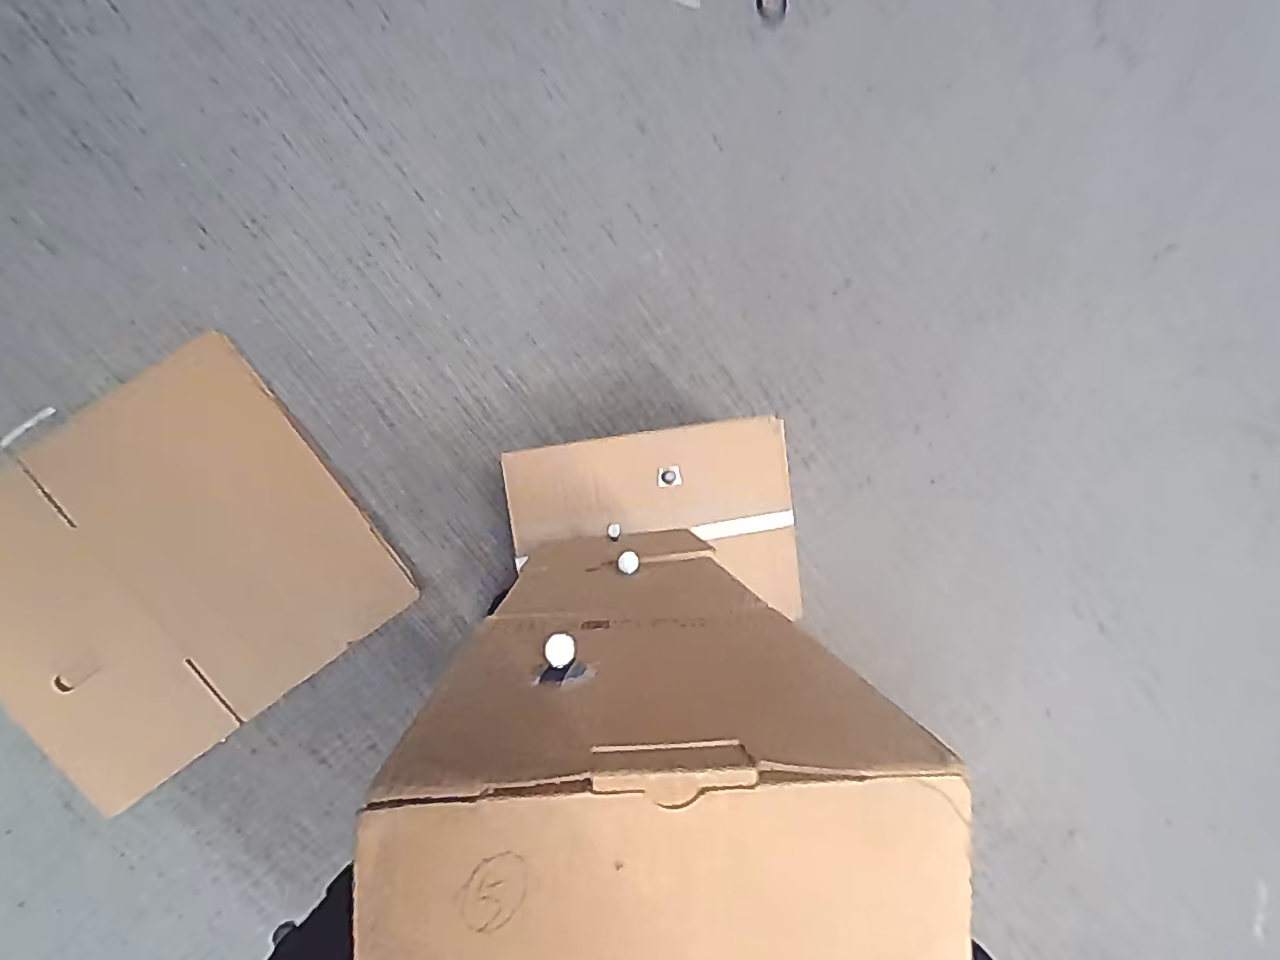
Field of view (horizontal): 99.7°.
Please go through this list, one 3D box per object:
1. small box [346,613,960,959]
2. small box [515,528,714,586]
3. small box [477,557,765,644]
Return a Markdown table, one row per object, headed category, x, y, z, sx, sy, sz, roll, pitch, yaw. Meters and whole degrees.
| category | x | y | z | sx | sy | sz | roll | pitch | yaw |
| --- | --- | --- | --- | --- | --- | --- | --- | --- | --- |
| small box | 0.002 | 0.160 | 0.226 | 0.168 | 0.176 | 0.179 | -2 | 92 | -3 |
| small box | -0.016 | 0.146 | 0.554 | 0.179 | 0.176 | 0.168 | -9 | 90 | -4 |
| small box | -0.009 | 0.160 | 0.387 | 0.168 | 0.176 | 0.179 | -5 | 91 | -4 |
